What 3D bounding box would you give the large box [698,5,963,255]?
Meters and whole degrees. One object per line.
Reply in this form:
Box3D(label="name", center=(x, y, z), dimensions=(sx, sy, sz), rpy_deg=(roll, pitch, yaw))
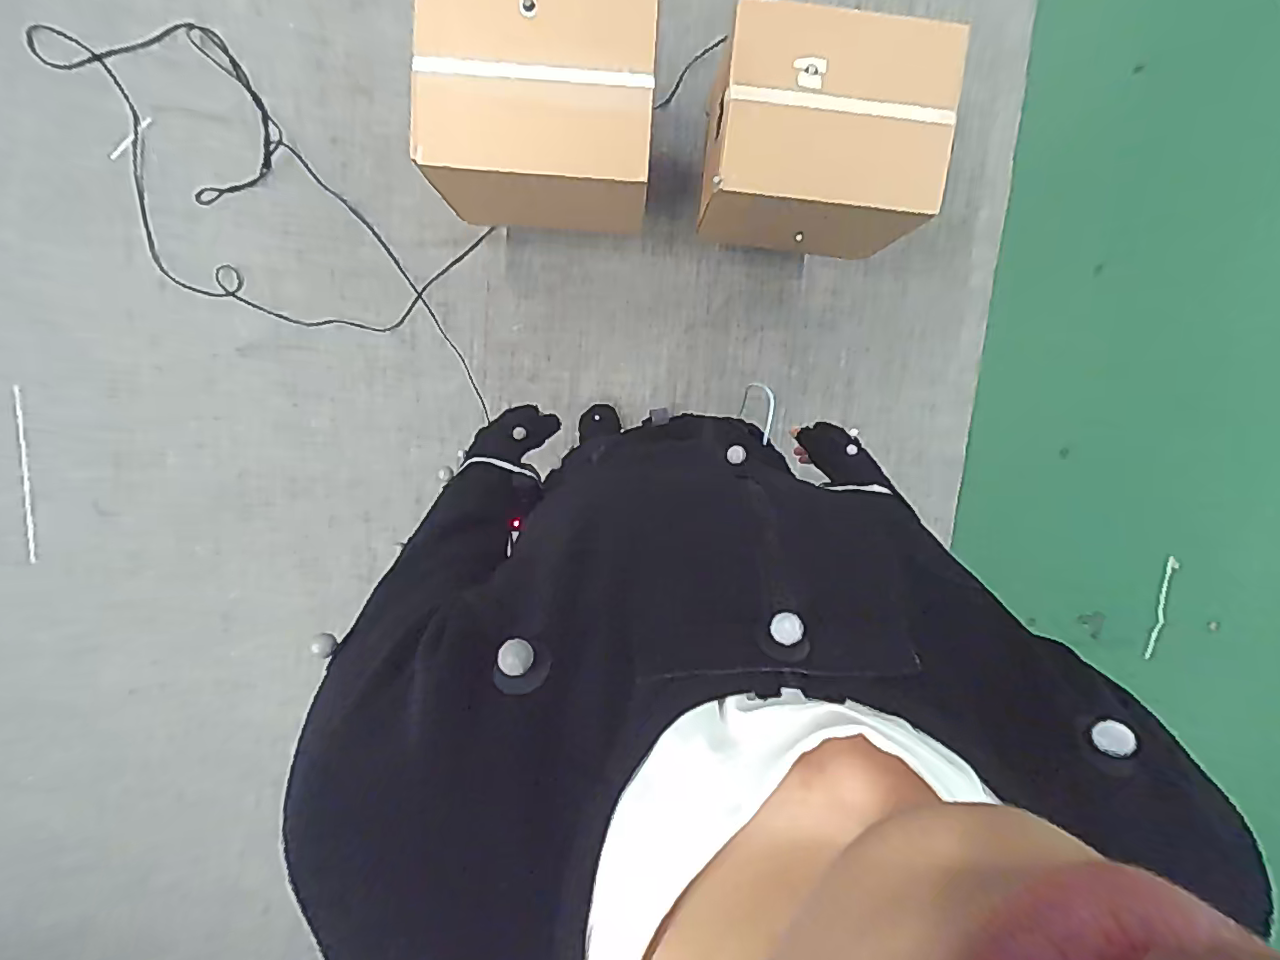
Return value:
Box3D(label="large box", center=(0.350, -0.671, 1.101), dimensions=(0.408, 0.320, 0.320), rpy_deg=(6, 97, -2))
